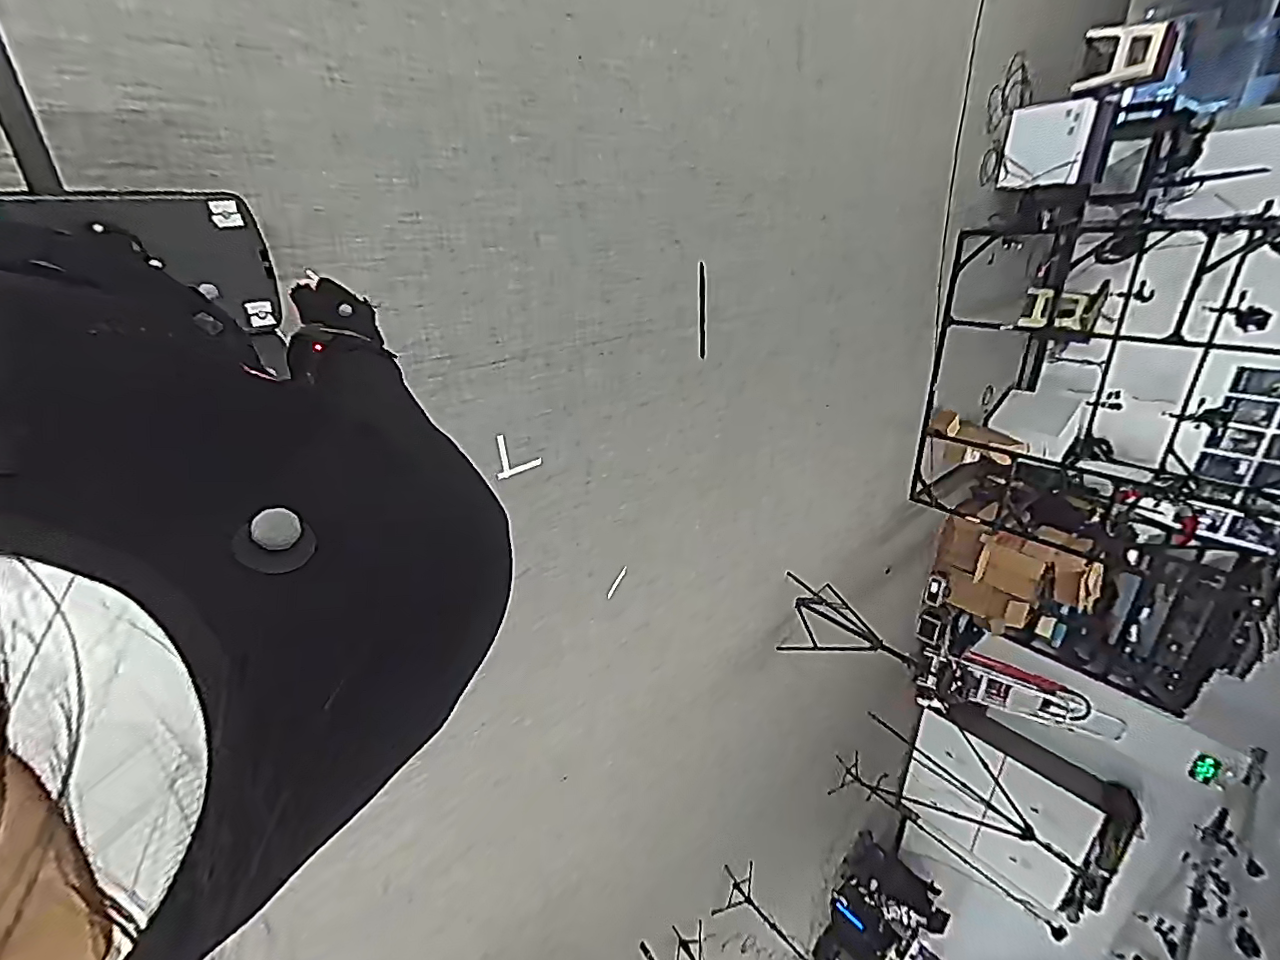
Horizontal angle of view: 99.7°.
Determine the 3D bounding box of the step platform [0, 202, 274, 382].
[{"bbox_3d":[-1.116,-0.364,1.033,0.684,0.204,0.286,-24,123,-35],"label":"step platform"}]
